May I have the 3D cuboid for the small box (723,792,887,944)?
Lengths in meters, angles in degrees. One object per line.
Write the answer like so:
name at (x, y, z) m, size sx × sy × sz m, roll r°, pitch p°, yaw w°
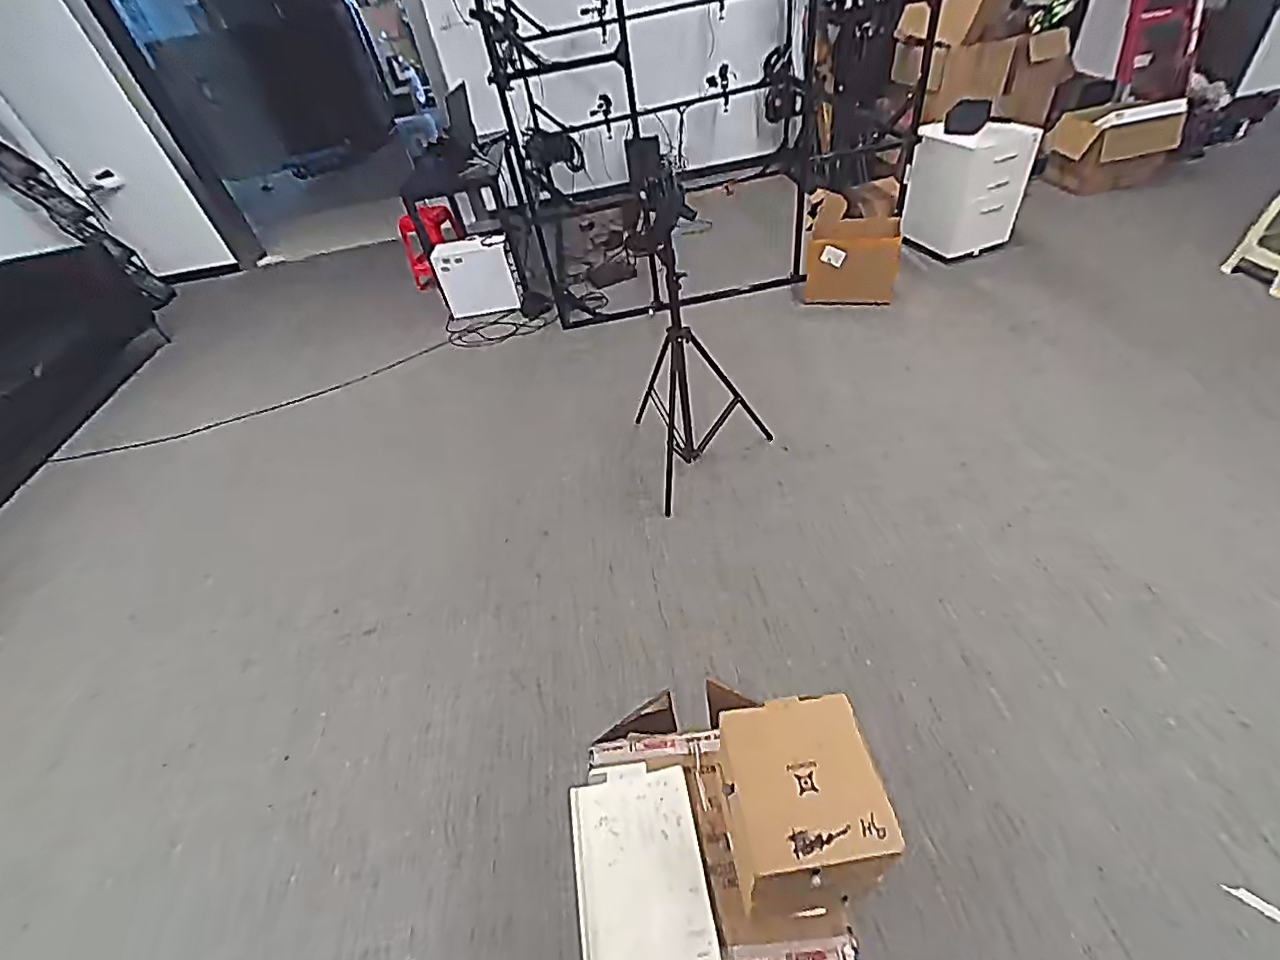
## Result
small box at (0.224, 0.550, 0.789) m, size 0.179 × 0.176 × 0.168 m, roll -12°, pitch 44°, yaw -2°

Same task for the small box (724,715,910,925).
small box at (0.203, 0.427, 0.682) m, size 0.168 × 0.176 × 0.179 m, roll -9°, pitch 44°, yaw -1°
